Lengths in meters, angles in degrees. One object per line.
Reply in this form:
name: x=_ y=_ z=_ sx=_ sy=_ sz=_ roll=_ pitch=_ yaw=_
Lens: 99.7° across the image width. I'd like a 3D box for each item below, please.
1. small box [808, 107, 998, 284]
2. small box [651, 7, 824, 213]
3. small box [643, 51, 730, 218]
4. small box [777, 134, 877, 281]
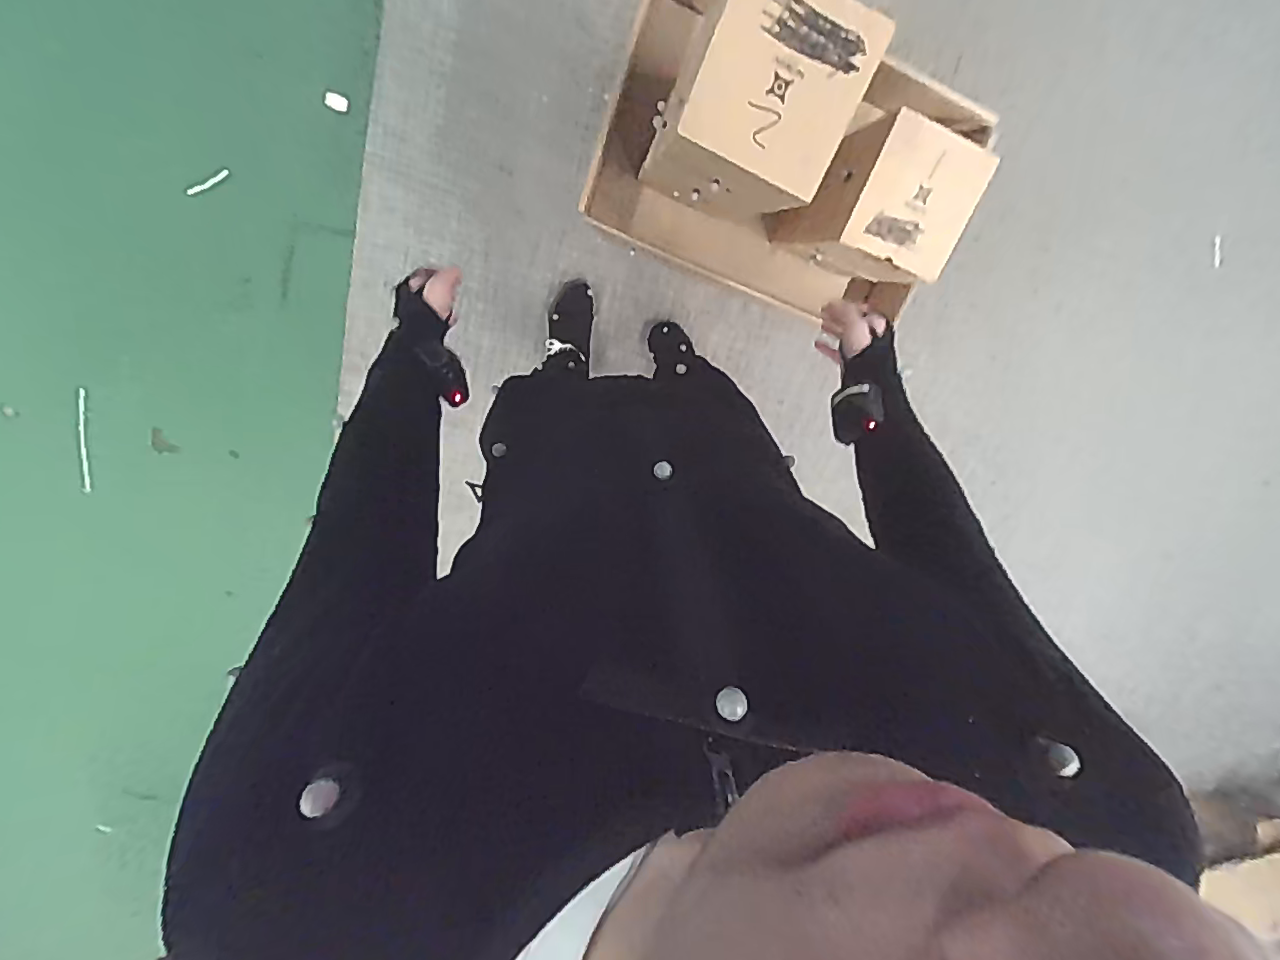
small box: x=0.380 y=-0.417 z=0.822 sx=0.168 sy=0.176 sz=0.179 roll=19 pitch=109 yaw=-11
small box: x=0.122 y=-0.500 z=0.767 sx=0.168 sy=0.176 sz=0.179 roll=20 pitch=110 yaw=-13
small box: x=0.111 y=-0.570 z=0.915 sx=0.168 sy=0.176 sz=0.179 roll=22 pitch=109 yaw=-11
small box: x=0.367 y=-0.479 z=0.974 sx=0.168 sy=0.176 sz=0.179 roll=19 pitch=110 yaw=-11
